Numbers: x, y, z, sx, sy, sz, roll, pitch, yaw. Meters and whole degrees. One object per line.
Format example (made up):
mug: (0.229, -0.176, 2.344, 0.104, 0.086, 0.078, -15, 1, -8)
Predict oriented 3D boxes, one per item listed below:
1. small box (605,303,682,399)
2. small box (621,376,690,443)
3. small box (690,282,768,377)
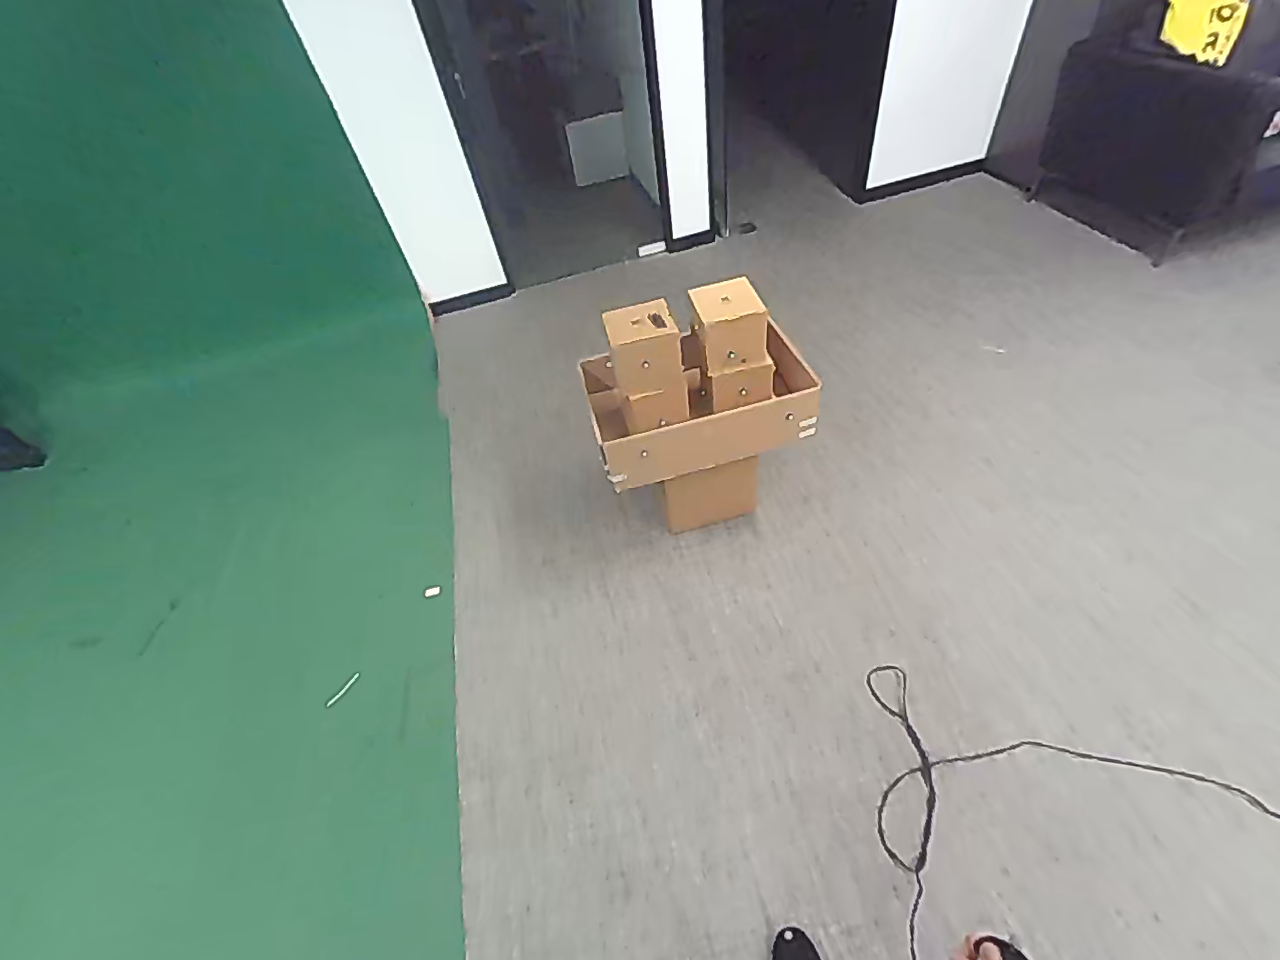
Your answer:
small box: (0.012, -0.344, 1.451, 0.179, 0.176, 0.168, -13, 47, -1)
small box: (0.038, -0.239, 1.574, 0.168, 0.176, 0.179, -18, 48, -6)
small box: (0.239, -0.409, 1.473, 0.168, 0.176, 0.179, -14, 48, -1)
